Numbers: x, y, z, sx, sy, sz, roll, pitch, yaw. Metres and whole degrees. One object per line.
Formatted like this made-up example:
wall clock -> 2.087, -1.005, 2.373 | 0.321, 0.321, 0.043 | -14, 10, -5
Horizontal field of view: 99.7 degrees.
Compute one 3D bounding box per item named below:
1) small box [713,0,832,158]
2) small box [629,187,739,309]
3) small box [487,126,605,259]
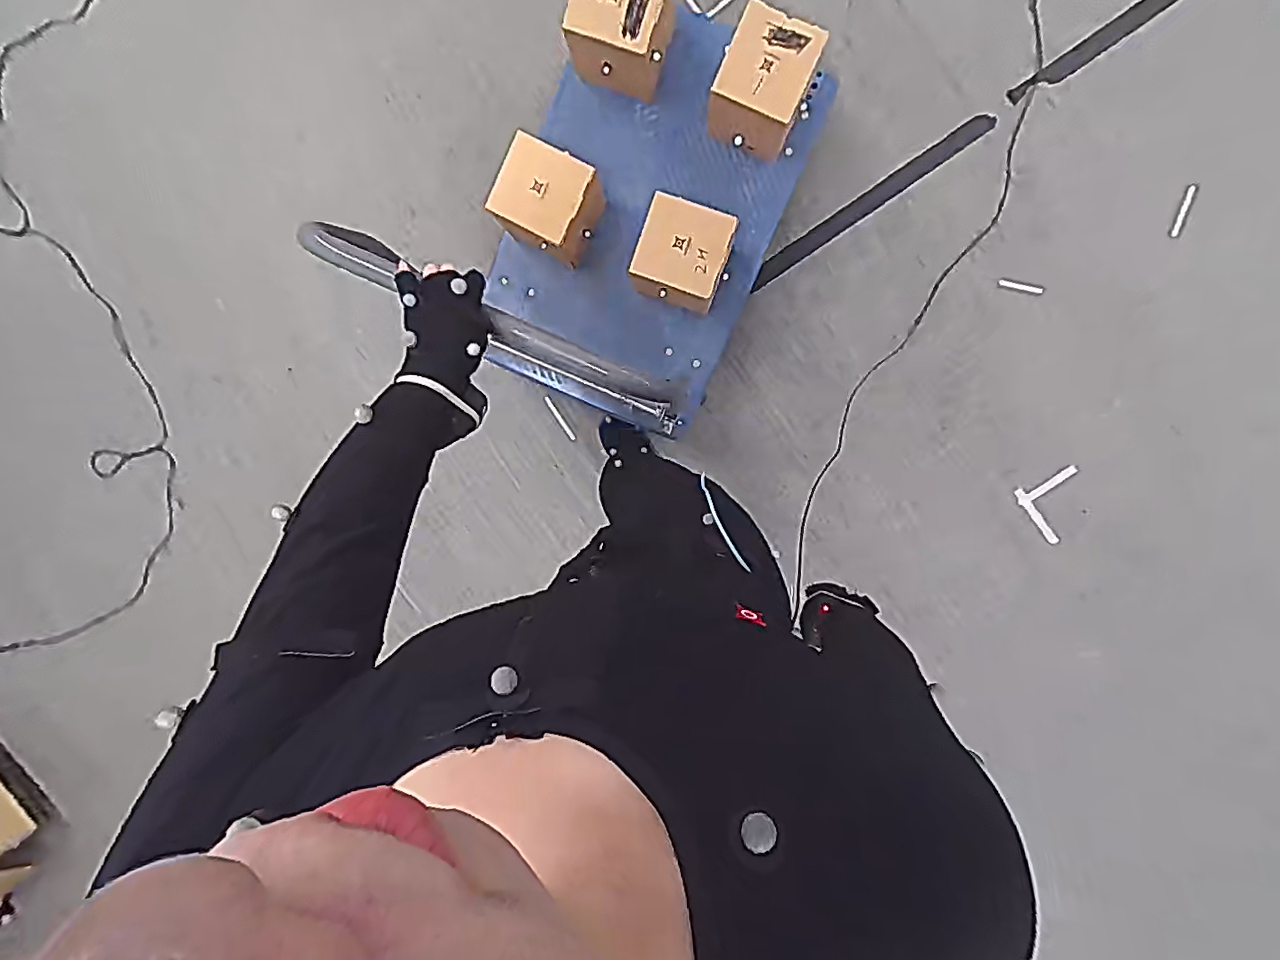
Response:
small box -> 0.254, -0.803, 1.094 | 0.168, 0.176, 0.179 | 26, 99, 1
small box -> 0.092, -0.478, 1.145 | 0.179, 0.176, 0.168 | 21, 98, 2
small box -> -0.193, -0.599, 1.155 | 0.179, 0.176, 0.168 | 27, 98, 0
